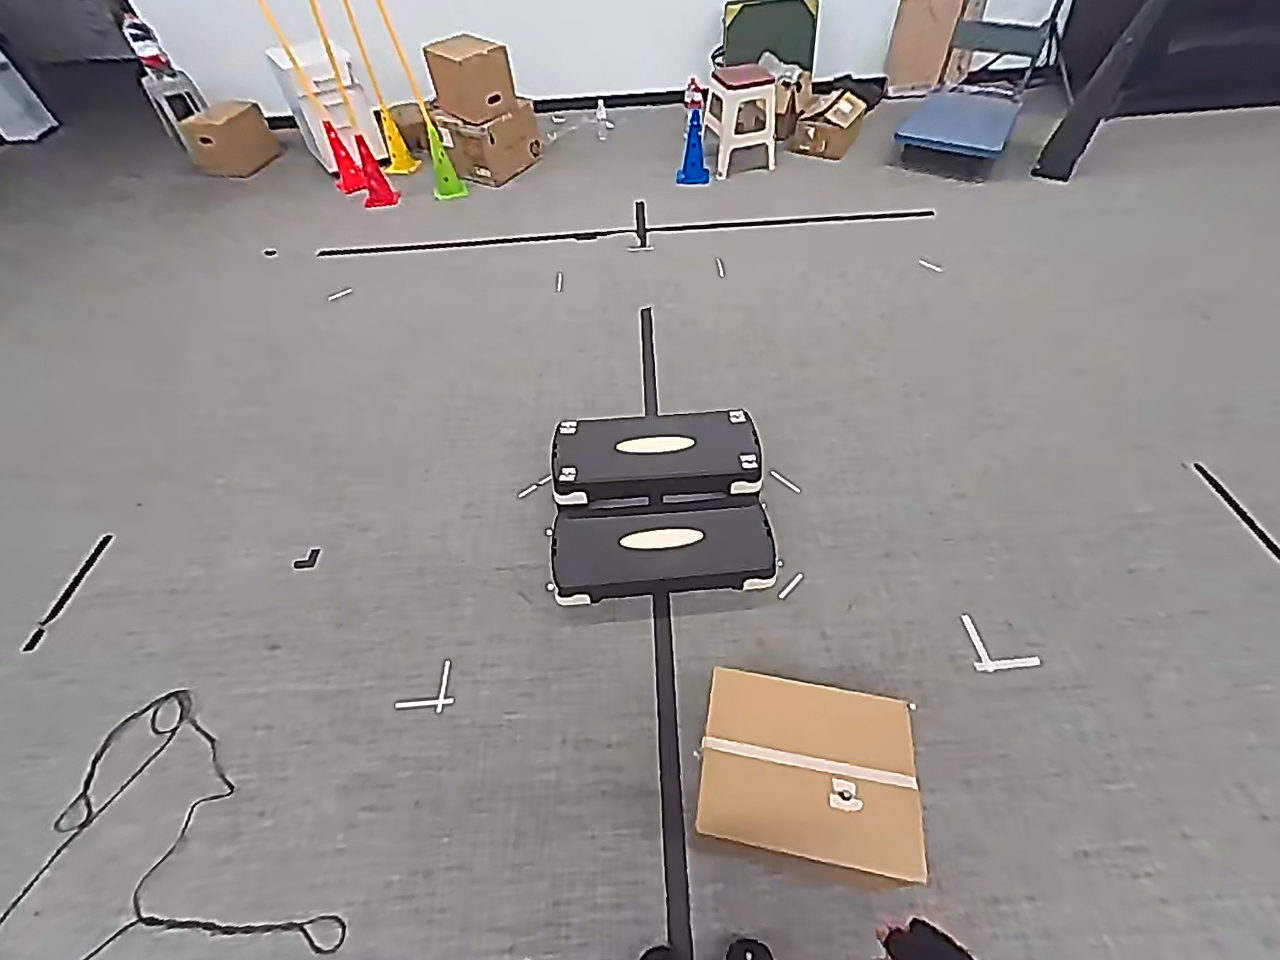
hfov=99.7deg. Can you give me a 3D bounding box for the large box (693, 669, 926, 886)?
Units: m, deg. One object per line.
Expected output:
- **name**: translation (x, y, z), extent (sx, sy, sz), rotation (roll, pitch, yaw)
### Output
- **large box**: translation (0.335, 0.646, 1.175), extent (0.408, 0.320, 0.320), rotation (8, 52, 8)

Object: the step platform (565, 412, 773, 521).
- **step platform**: translation (0.093, -0.053, 1.812), extent (0.684, 0.204, 0.286), rotation (-4, 51, -1)
